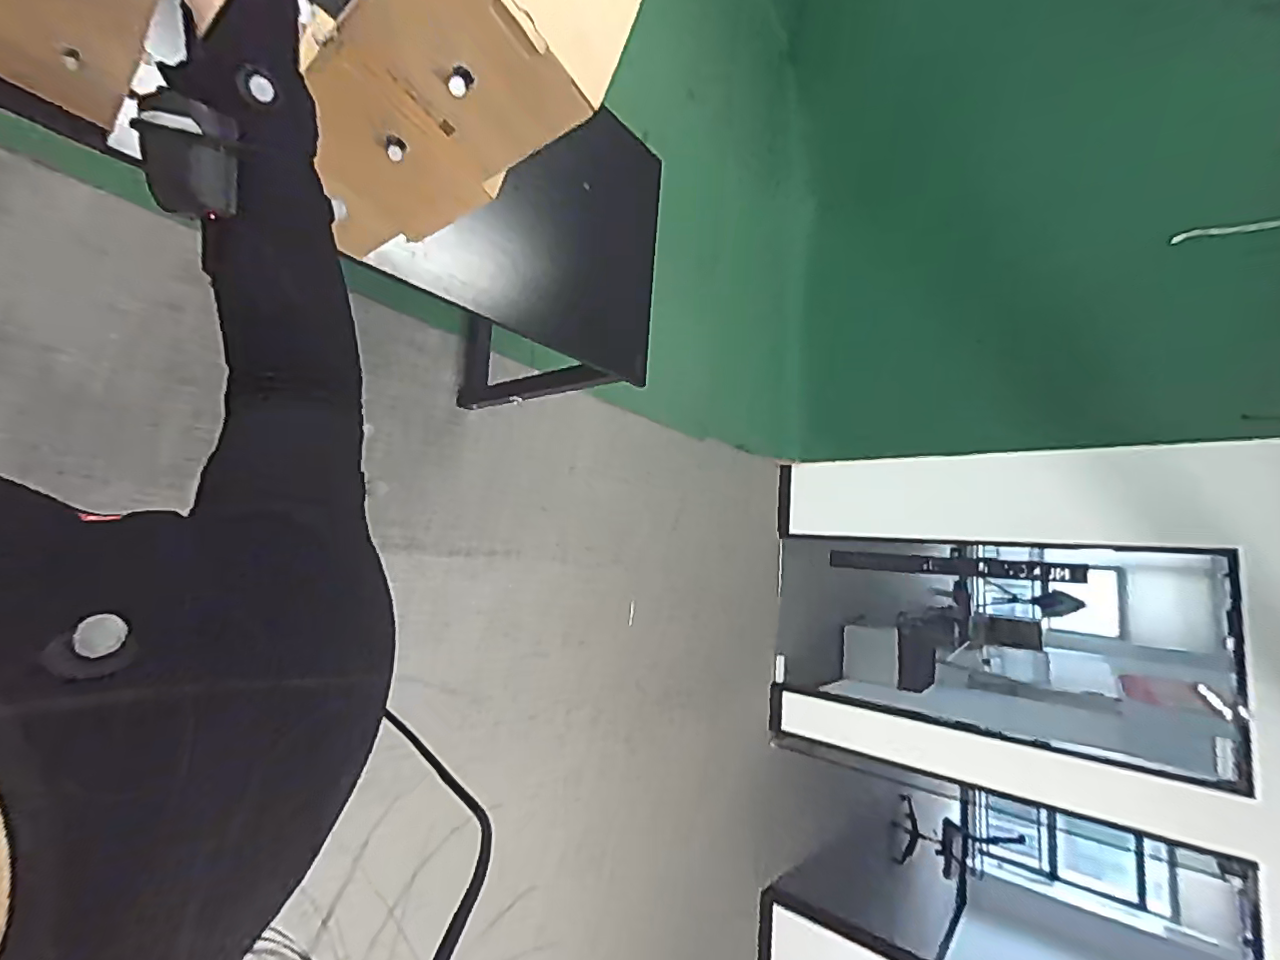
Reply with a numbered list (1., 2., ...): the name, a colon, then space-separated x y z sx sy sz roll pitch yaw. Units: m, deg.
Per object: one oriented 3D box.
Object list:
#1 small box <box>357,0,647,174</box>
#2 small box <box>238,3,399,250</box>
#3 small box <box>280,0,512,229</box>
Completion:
1. small box: -0.125 -0.426 0.494 0.168 0.176 0.179 35 64 -44
2. small box: -0.382 -0.428 0.694 0.168 0.176 0.179 21 73 -50
3. small box: -0.250 -0.409 0.599 0.179 0.176 0.168 32 65 -46
